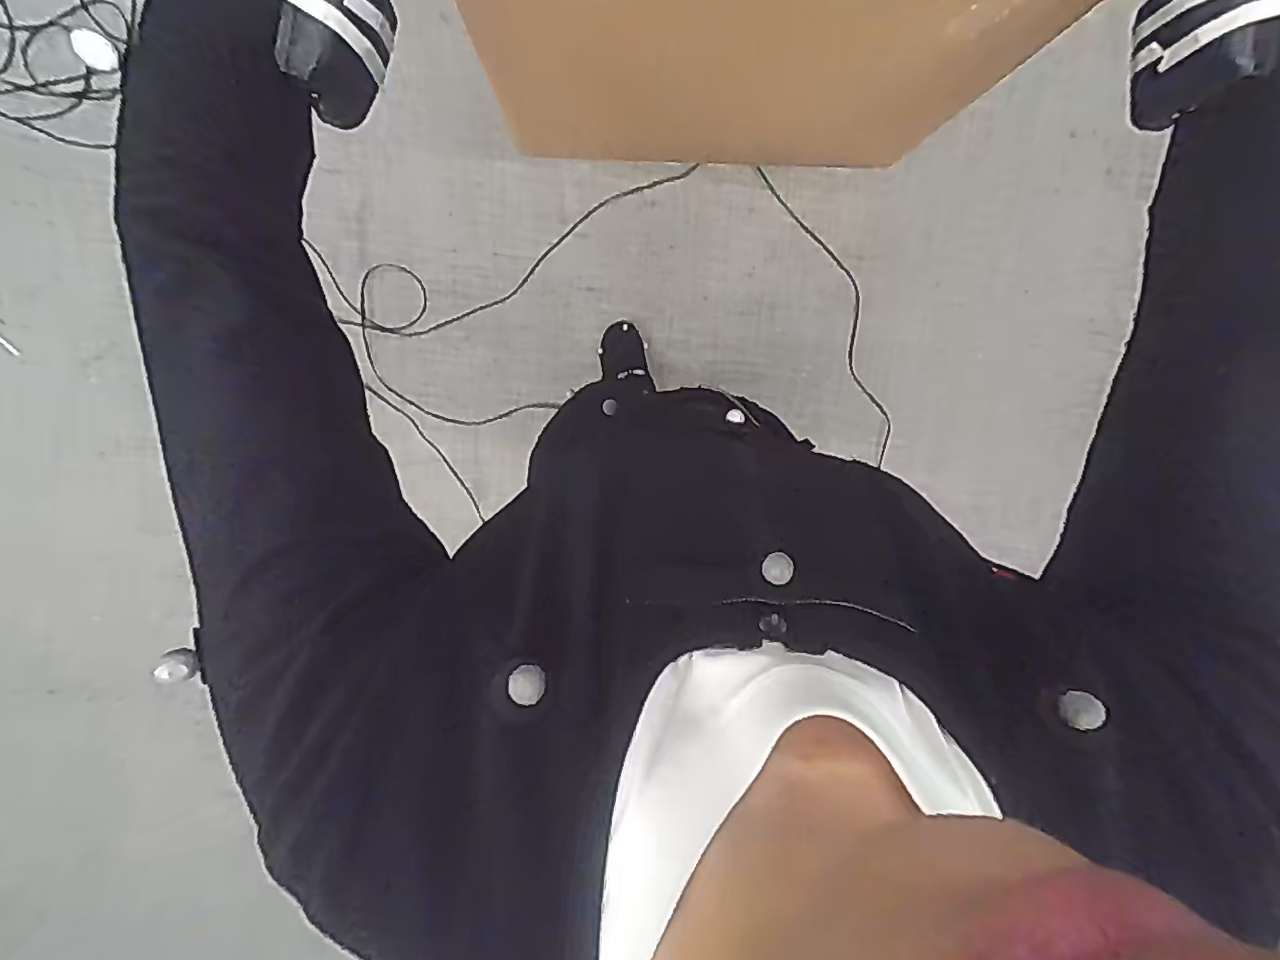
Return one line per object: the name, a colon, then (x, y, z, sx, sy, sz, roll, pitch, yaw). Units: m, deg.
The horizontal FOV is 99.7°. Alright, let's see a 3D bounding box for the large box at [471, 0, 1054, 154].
large box: (0.076, -0.478, 0.413, 0.408, 0.320, 0.320, 0, 100, -4)
